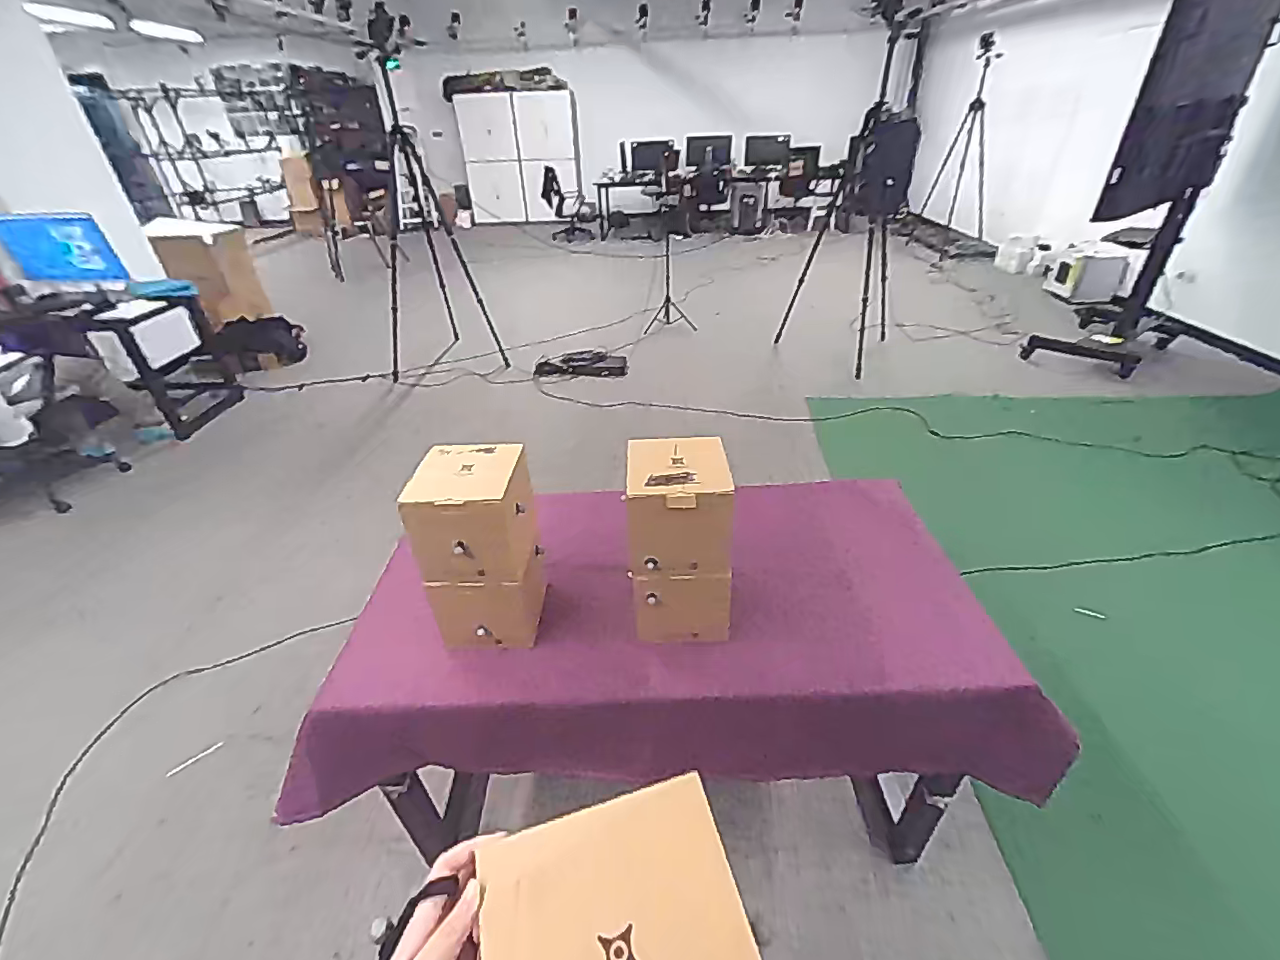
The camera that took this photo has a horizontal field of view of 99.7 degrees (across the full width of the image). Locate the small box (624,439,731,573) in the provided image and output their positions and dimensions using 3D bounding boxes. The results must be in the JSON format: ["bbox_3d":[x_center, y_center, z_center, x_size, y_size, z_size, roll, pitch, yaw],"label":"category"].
[{"bbox_3d":[0.062,0.047,0.925,0.168,0.176,0.179,-2,32,1],"label":"small box"}]

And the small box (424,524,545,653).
[{"bbox_3d":[-0.278,0.201,1.016,0.168,0.176,0.179,-2,34,2],"label":"small box"}]

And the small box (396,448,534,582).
[{"bbox_3d":[-0.285,0.061,0.928,0.168,0.176,0.179,-1,34,1],"label":"small box"}]
